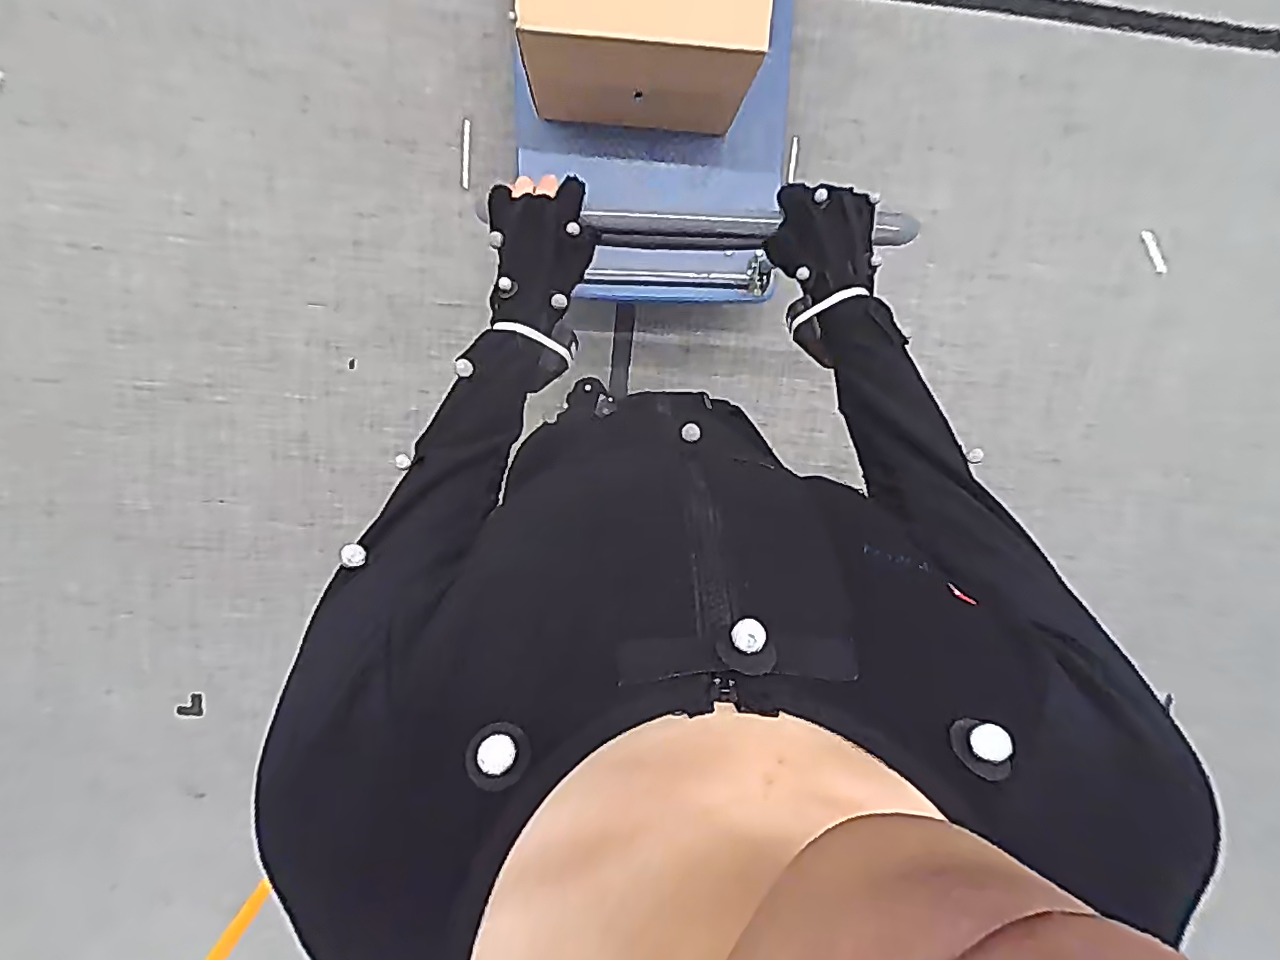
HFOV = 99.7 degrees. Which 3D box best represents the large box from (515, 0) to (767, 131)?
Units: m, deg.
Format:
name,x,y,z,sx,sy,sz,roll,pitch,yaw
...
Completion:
name,x,y,z,sx,sy,sz,roll,pitch,yaw
large box,0.000,-0.872,0.979,0.408,0.320,0.320,2,101,-3
